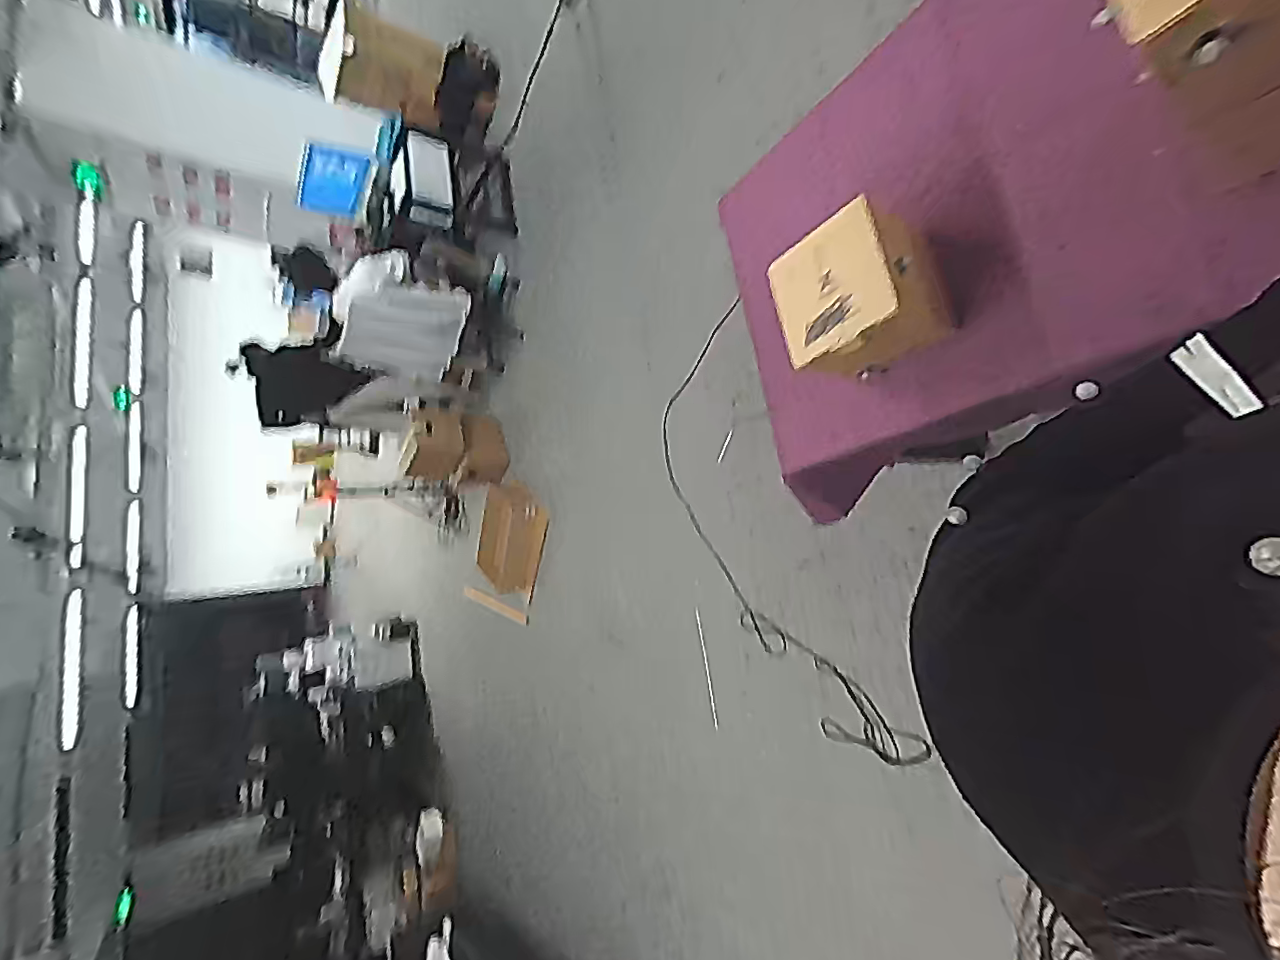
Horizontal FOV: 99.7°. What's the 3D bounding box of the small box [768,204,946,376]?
[{"bbox_3d":[0.324,-0.267,0.810,0.168,0.176,0.179,-27,68,49],"label":"small box"}]
